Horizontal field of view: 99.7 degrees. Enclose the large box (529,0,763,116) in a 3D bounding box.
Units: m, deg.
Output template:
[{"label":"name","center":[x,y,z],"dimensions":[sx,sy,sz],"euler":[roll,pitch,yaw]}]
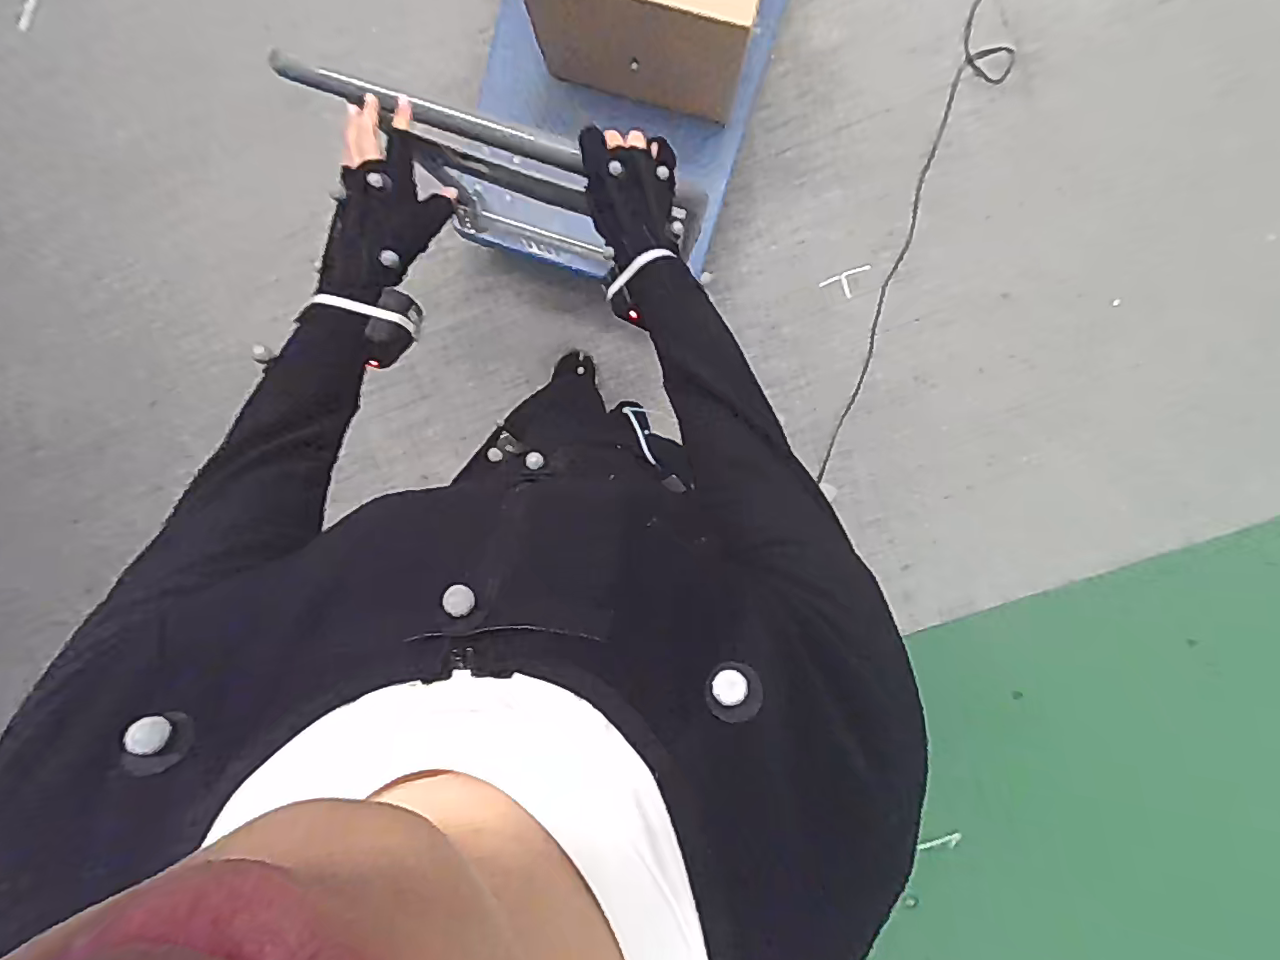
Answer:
[{"label":"large box","center":[0.035,-0.951,1.000],"dimensions":[0.408,0.320,0.320],"euler":[15,98,1]}]
